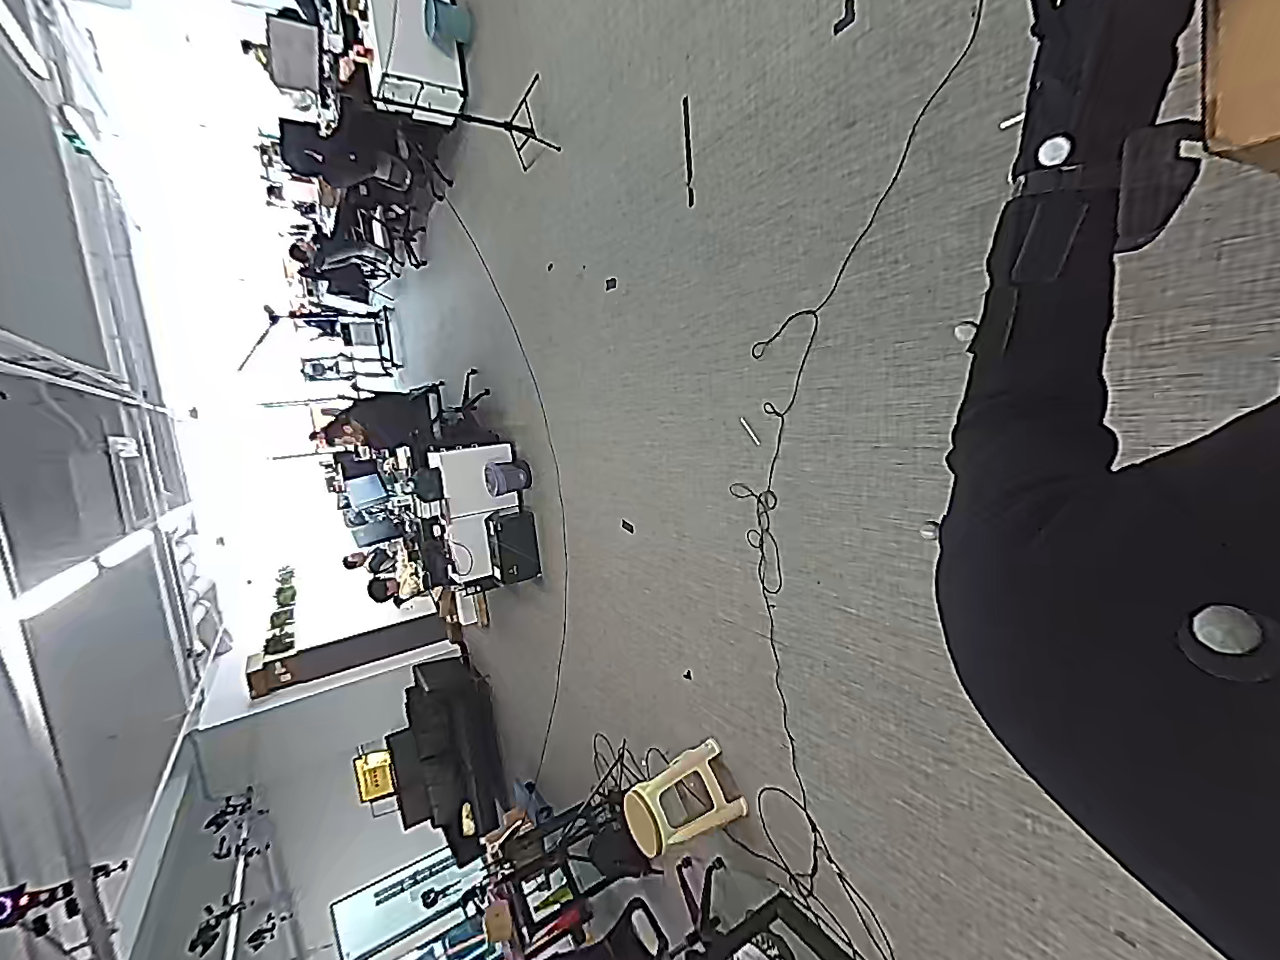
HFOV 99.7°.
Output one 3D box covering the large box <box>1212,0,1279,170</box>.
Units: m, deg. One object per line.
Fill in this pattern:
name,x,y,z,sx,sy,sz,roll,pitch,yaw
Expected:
large box,0.537,-0.373,0.212,0.408,0.320,0.320,4,110,54
